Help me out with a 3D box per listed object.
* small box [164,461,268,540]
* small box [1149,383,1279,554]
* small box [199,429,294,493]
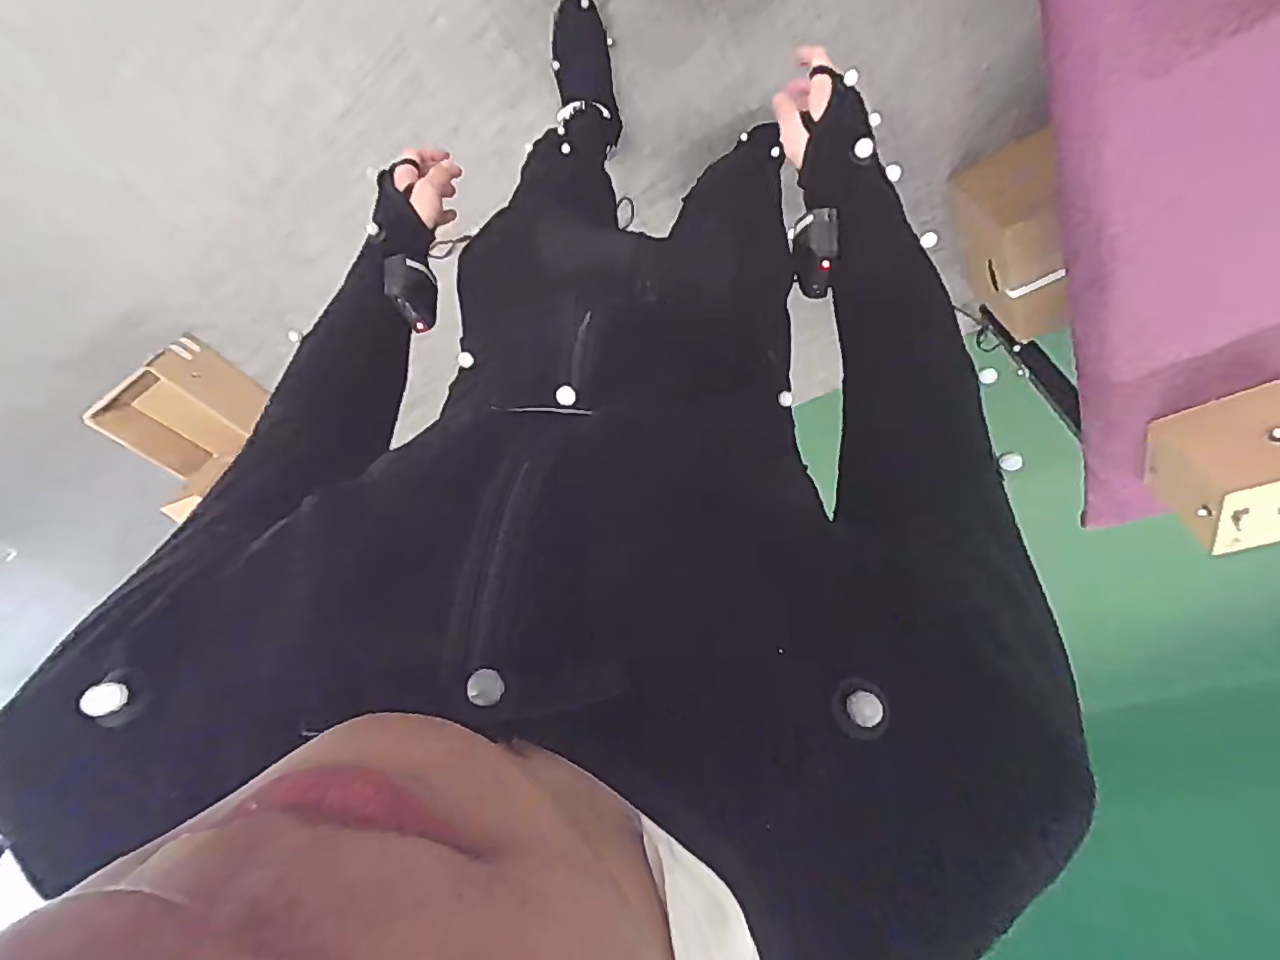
[{"bbox_3d":[-1.368,0.066,1.760,0.179,0.176,0.168,-16,130,17],"label":"small box"},{"bbox_3d":[0.945,-0.020,0.831,0.179,0.176,0.168,-23,129,21],"label":"small box"},{"bbox_3d":[-1.356,-0.047,1.877,0.179,0.176,0.168,-20,128,19],"label":"small box"}]
